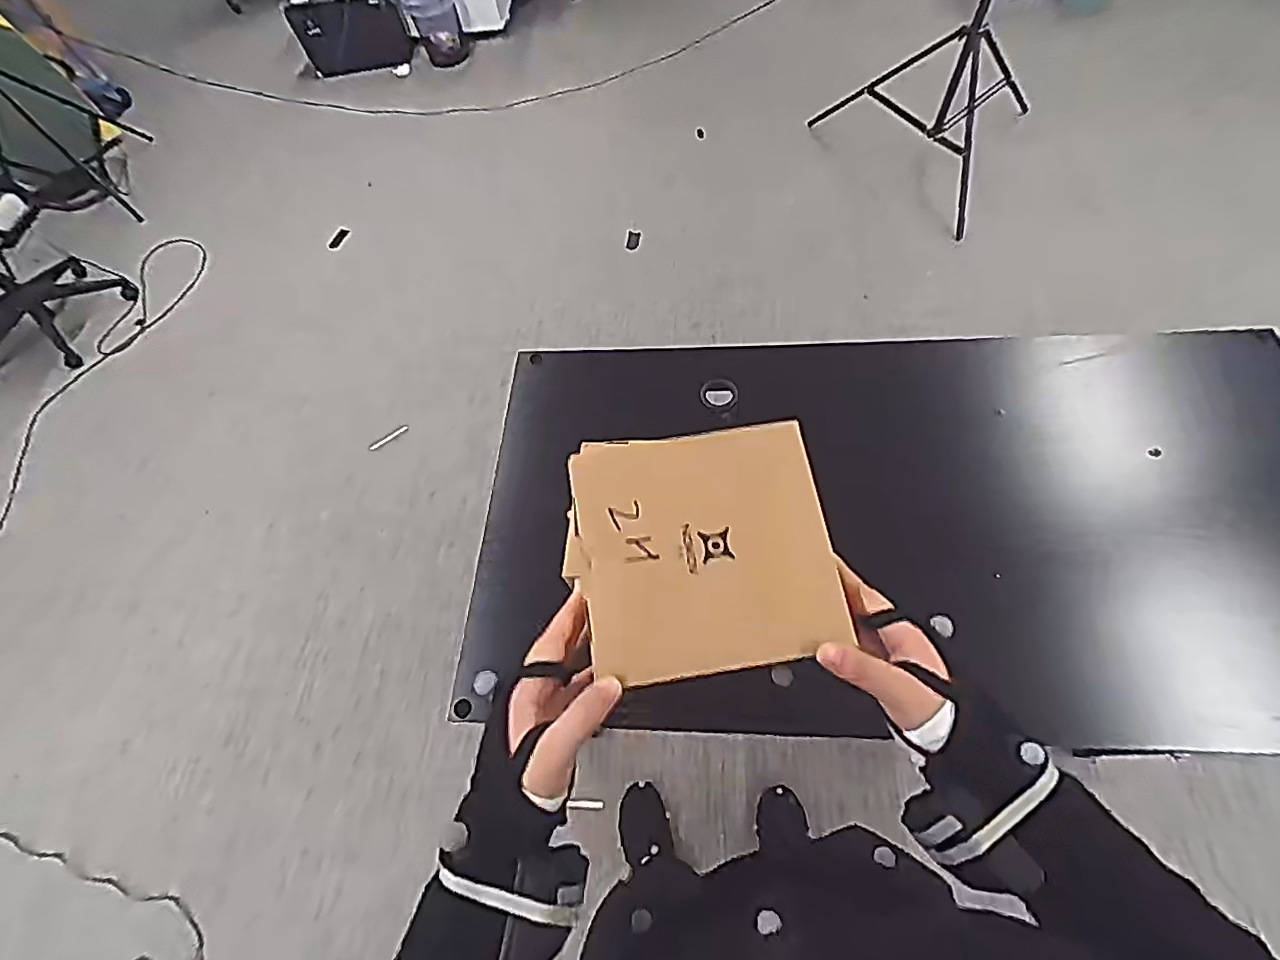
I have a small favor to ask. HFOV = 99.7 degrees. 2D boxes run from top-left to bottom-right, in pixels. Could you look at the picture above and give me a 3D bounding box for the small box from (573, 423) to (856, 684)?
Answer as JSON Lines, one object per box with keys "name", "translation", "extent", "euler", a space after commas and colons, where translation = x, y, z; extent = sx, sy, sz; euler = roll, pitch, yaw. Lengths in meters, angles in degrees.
{"name": "small box", "translation": [0.048, 0.069, 0.447], "extent": [0.179, 0.176, 0.168], "euler": [-8, 71, 0]}
